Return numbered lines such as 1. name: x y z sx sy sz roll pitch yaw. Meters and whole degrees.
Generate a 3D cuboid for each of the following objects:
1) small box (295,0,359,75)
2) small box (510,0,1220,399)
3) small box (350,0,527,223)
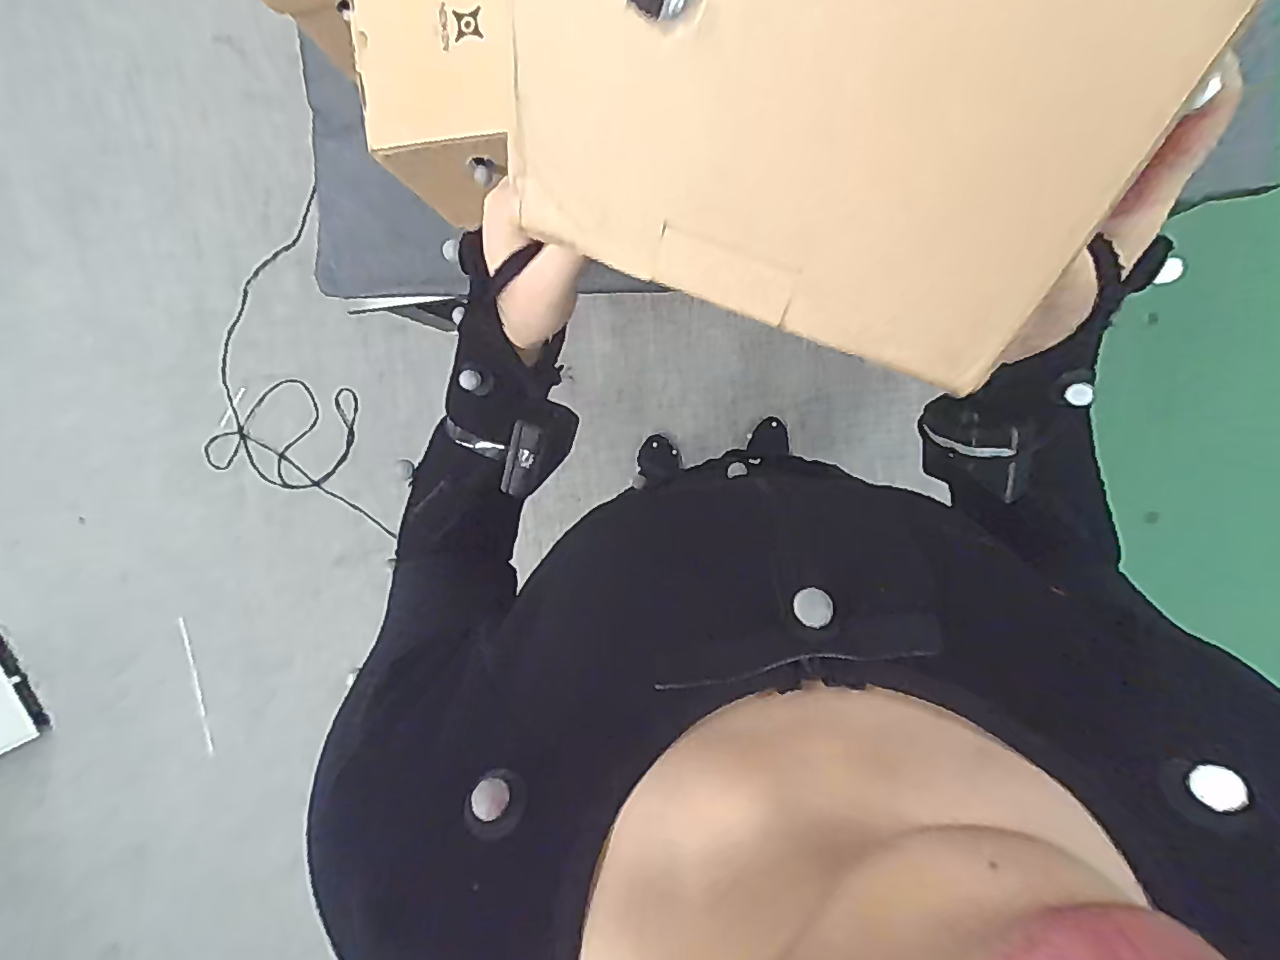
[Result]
1. small box: -0.315 -0.617 0.650 0.168 0.176 0.179 -9 96 7
2. small box: 0.071 -0.162 0.179 0.168 0.179 0.176 26 137 13
3. small box: -0.129 -0.353 0.493 0.179 0.176 0.168 -4 96 7
